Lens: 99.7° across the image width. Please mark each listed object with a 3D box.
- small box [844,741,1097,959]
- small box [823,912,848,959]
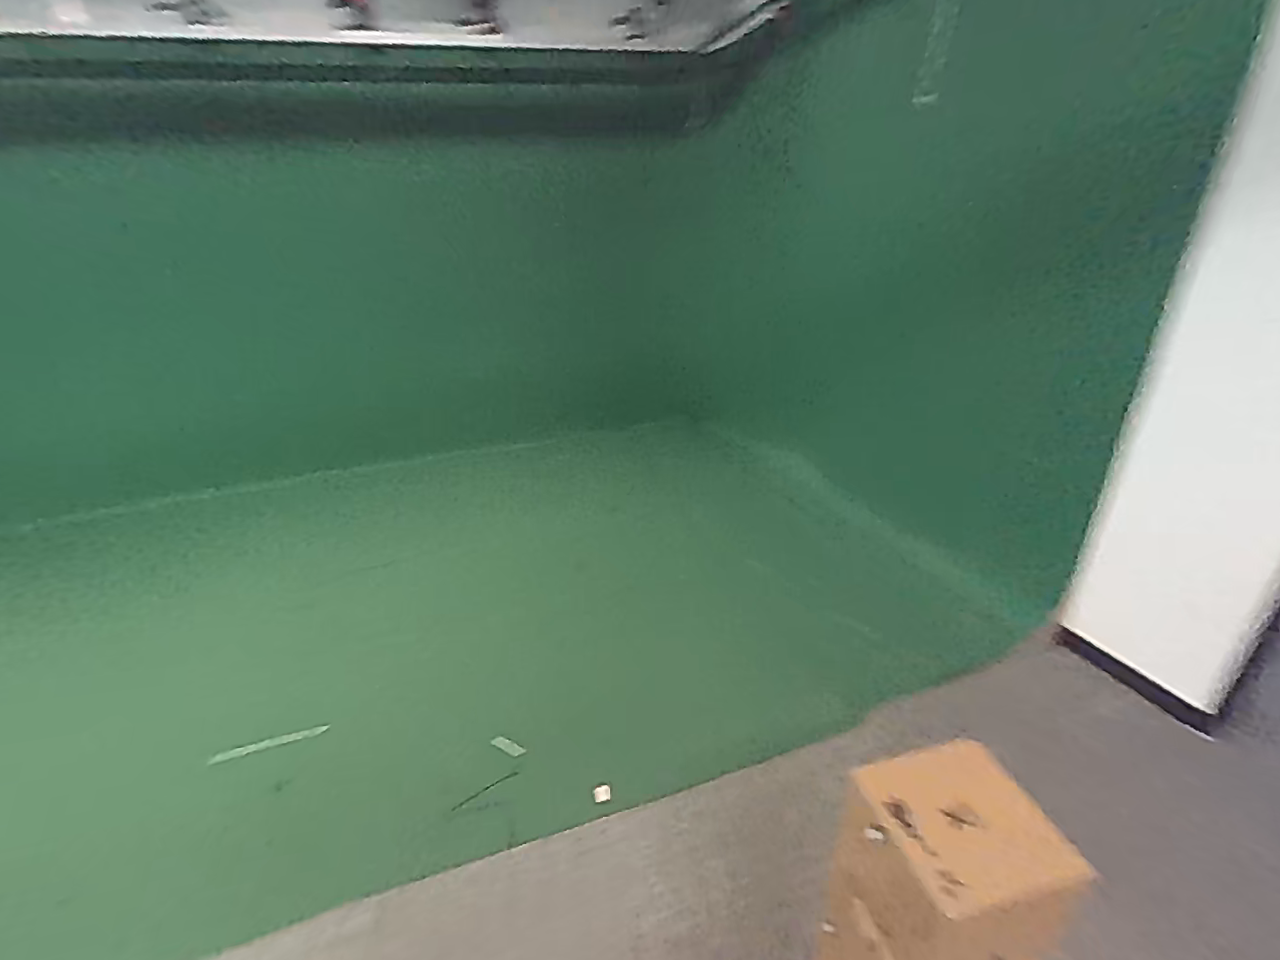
[{"bbox_3d":[0.364,0.446,0.633,0.179,0.176,0.168,-7,25,-10],"label":"small box"},{"bbox_3d":[0.373,0.747,0.769,0.168,0.176,0.179,-6,27,-5],"label":"small box"}]
